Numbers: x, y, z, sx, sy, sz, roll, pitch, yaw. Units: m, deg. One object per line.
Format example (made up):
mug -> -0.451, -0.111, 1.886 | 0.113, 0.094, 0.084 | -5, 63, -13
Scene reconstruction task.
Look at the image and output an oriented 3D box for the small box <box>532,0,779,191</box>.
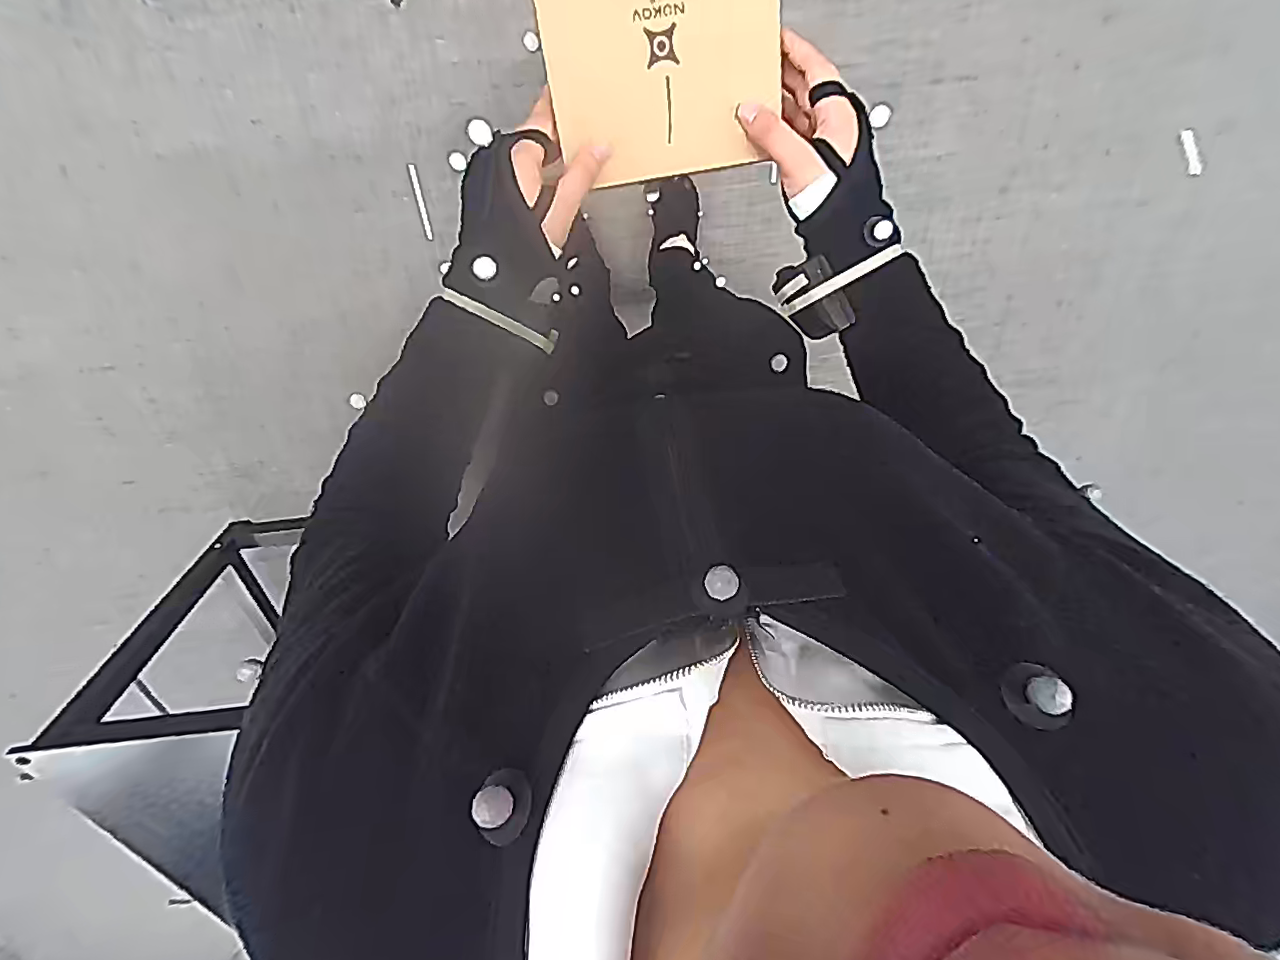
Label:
small box -> 0.004, -0.346, 0.438 | 0.168, 0.176, 0.179 | -10, 118, -1
